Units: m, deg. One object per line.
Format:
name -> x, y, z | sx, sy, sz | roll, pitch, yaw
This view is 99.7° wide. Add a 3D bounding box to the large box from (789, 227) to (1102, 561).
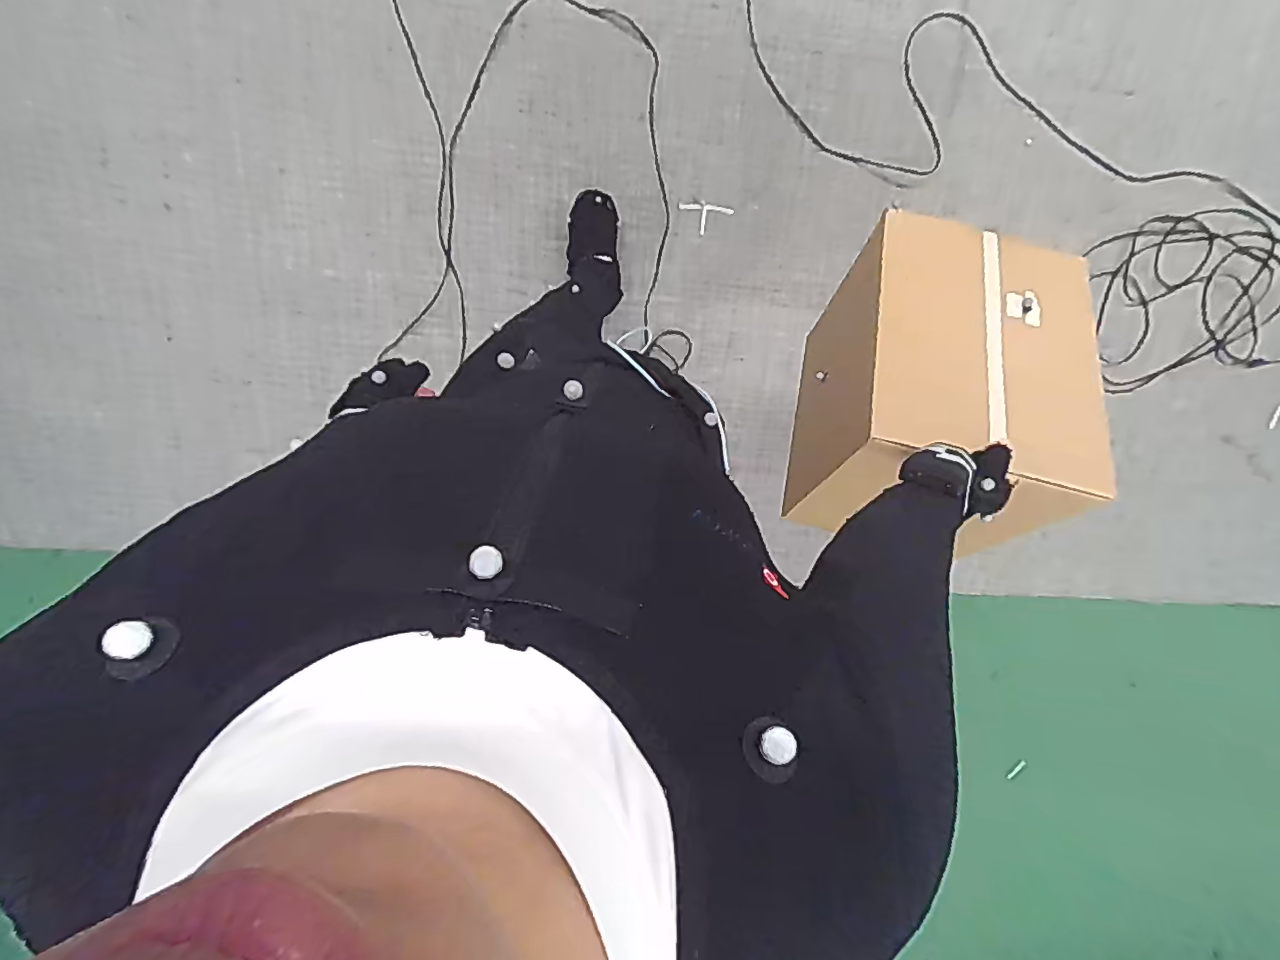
large box -> 0.458, -0.121, 0.890 | 0.320, 0.320, 0.408 | 15, 66, -1
